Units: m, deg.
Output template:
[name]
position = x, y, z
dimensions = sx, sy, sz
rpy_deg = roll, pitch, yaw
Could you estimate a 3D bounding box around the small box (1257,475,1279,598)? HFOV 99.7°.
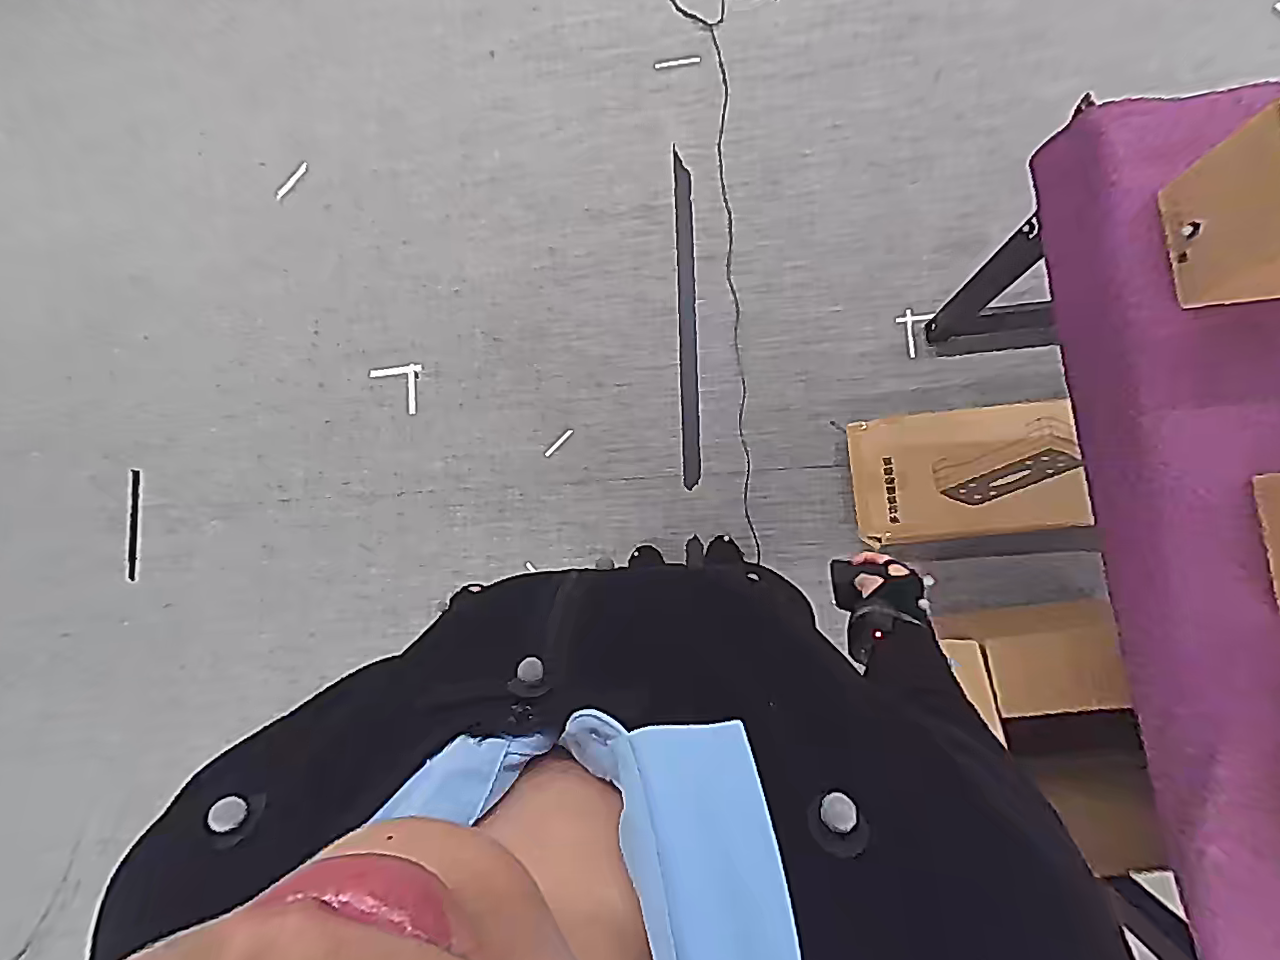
[small box]
position = 0.835, 0.069, 0.572
dimensions = 0.168, 0.176, 0.179
rpy_deg = -5, 83, 6
